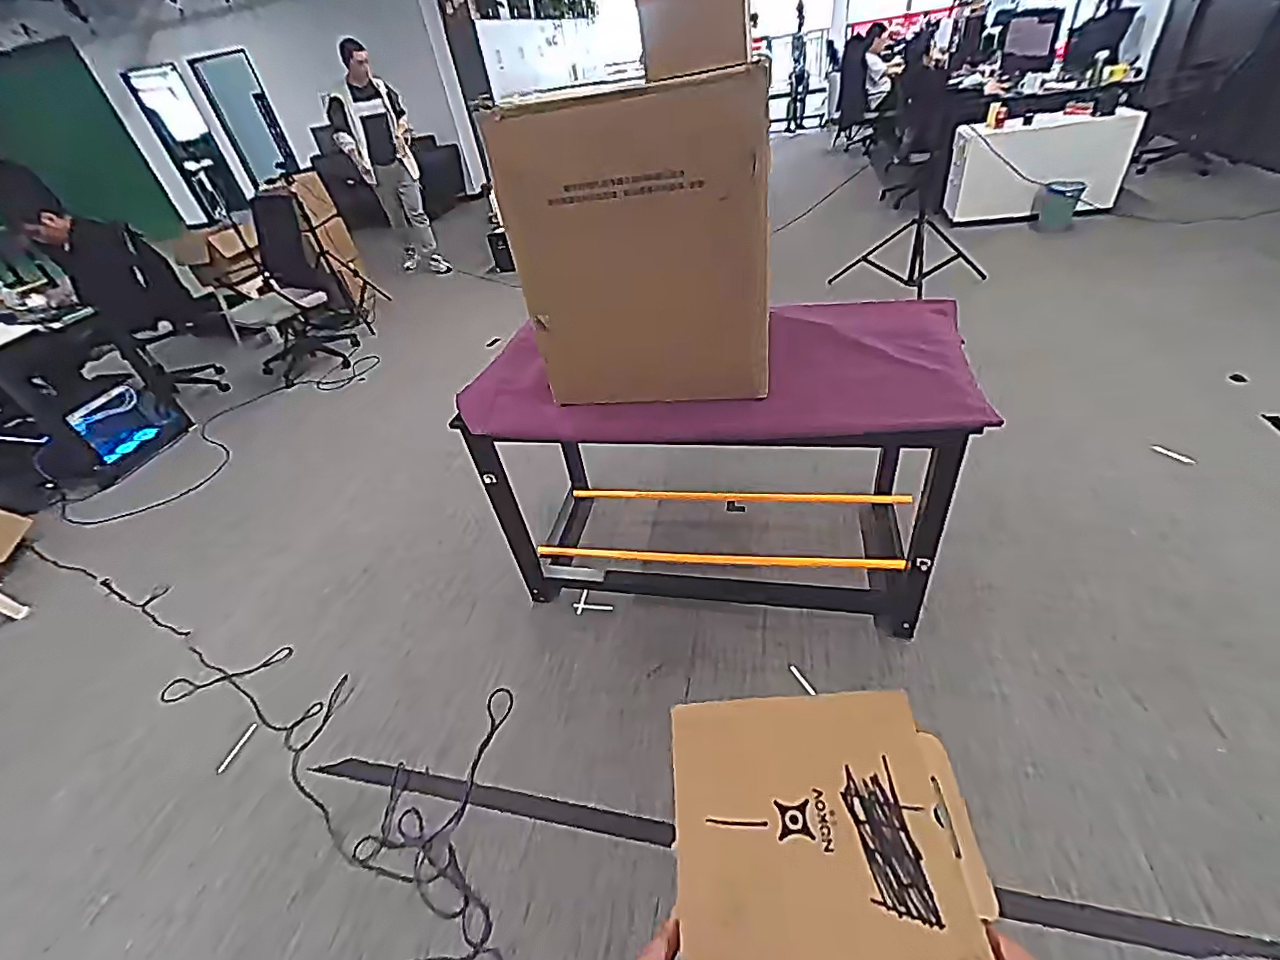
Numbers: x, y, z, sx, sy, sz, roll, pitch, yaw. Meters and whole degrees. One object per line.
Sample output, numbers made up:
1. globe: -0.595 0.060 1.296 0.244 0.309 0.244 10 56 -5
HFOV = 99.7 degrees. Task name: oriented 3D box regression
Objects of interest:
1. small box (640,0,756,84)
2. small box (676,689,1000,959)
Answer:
1. small box: 0.099 -0.784 0.905 0.179 0.176 0.168 0 41 15
2. small box: 0.125 0.275 0.408 0.179 0.176 0.168 -7 45 8
